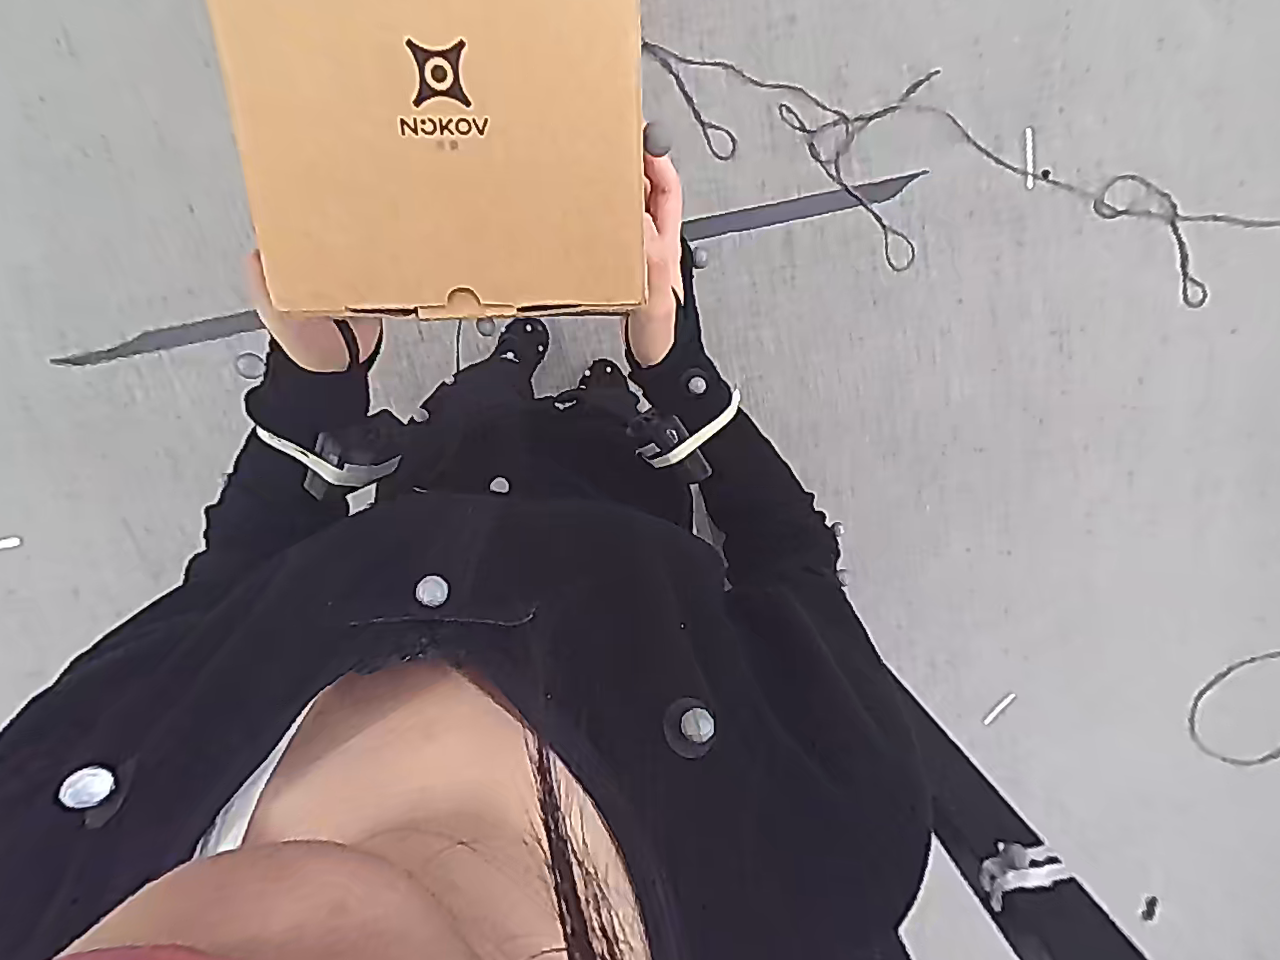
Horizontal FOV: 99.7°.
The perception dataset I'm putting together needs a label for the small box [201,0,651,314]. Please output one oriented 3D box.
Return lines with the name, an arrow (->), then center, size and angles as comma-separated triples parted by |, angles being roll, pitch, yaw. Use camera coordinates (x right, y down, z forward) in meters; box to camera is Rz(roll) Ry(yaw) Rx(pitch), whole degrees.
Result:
small box -> -0.086, -0.182, 0.286 | 0.168, 0.176, 0.179 | -4, 108, -4
